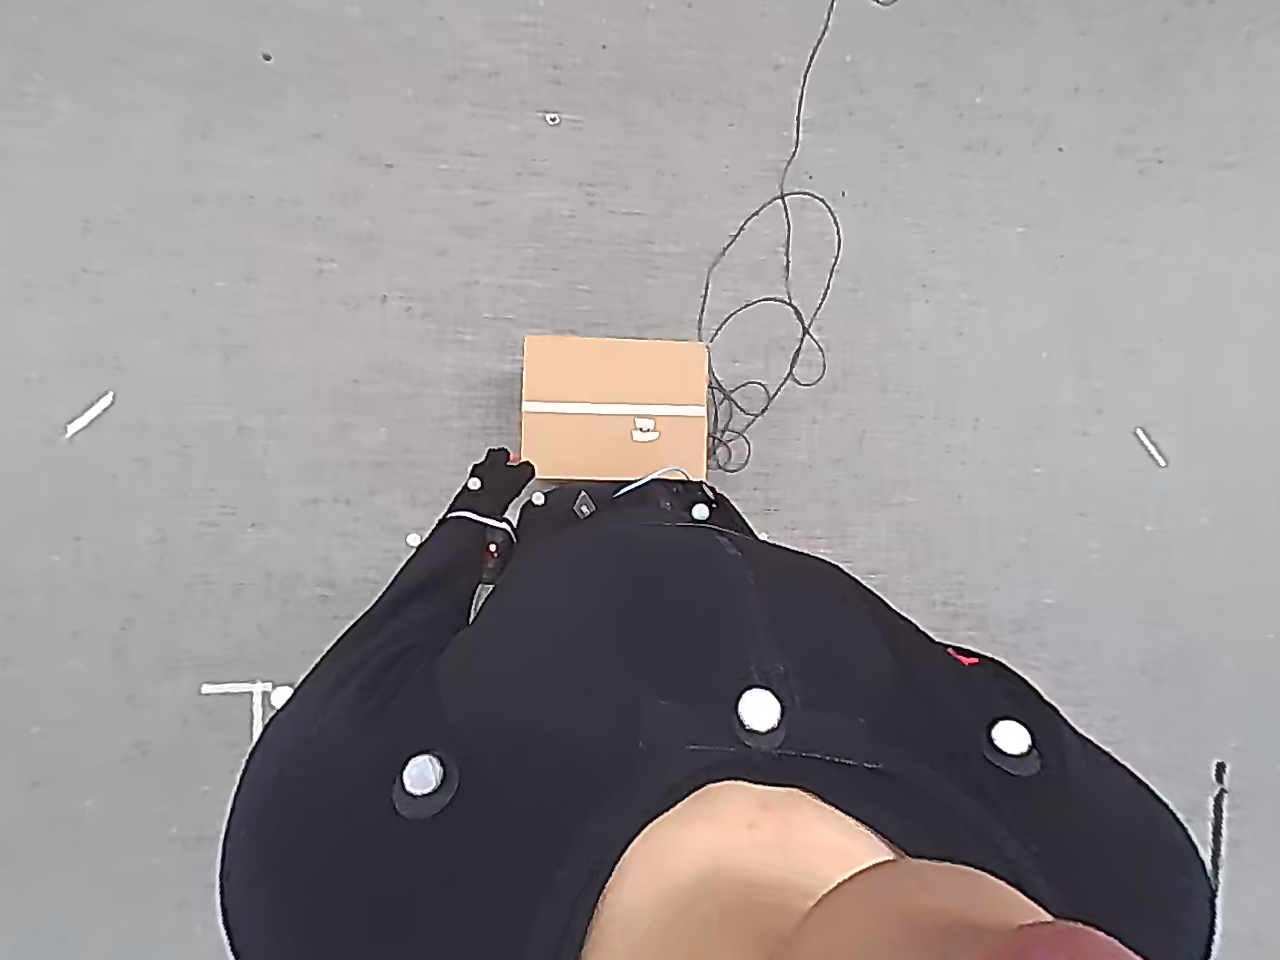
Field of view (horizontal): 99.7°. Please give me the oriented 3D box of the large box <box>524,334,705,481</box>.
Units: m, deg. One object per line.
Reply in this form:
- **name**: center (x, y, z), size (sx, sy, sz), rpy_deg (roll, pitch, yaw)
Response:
- **large box**: center (-0.066, -0.158, 1.341), size (0.408, 0.320, 0.320), rpy_deg (2, 89, -4)
